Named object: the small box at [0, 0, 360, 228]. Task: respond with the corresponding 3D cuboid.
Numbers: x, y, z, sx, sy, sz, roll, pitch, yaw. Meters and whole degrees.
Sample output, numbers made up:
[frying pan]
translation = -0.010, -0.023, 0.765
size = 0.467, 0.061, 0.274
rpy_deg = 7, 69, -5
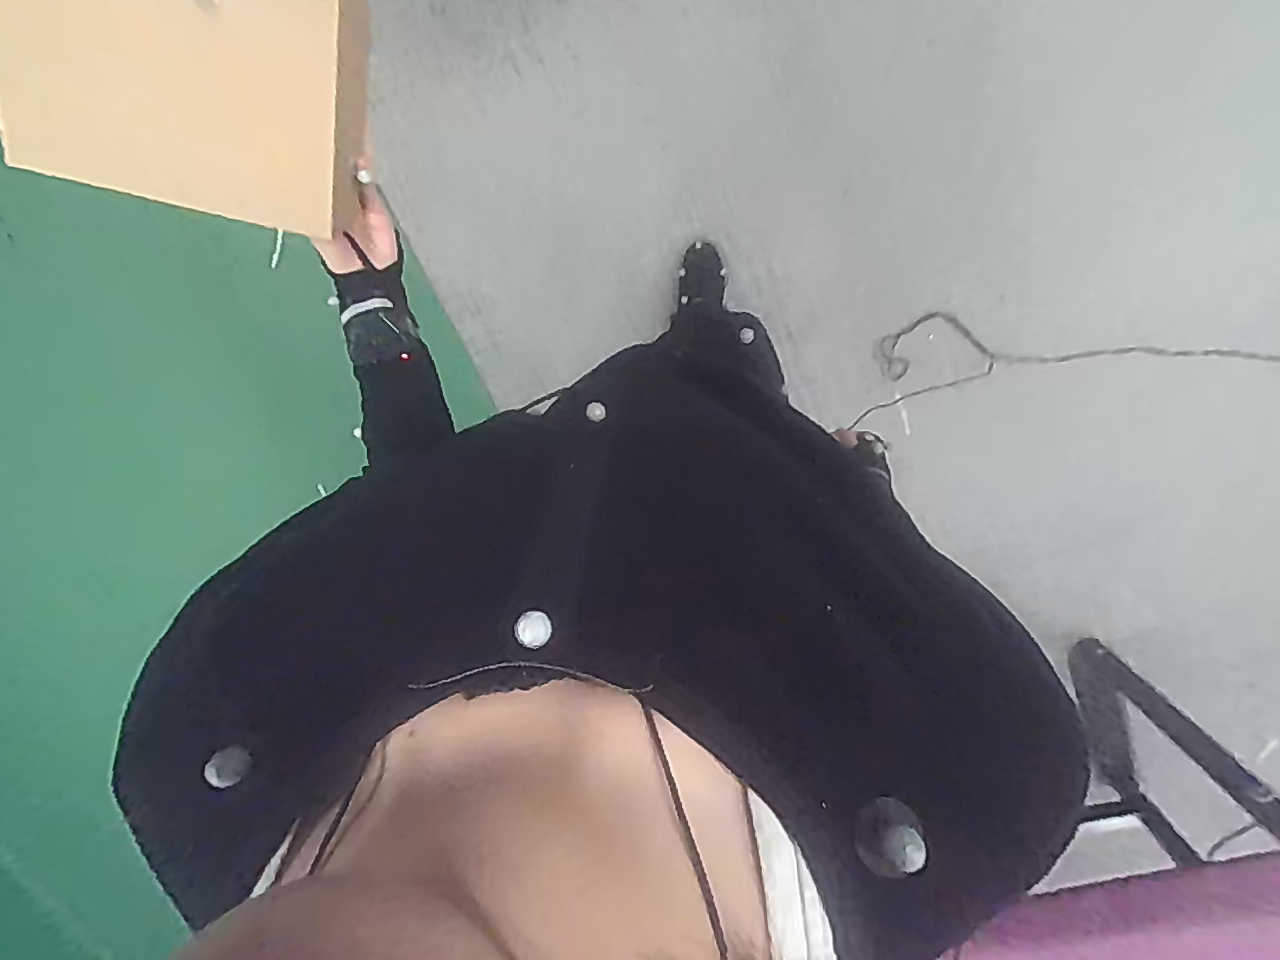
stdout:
[small box]
translation = -0.288, -0.289, 0.362
size = 0.168, 0.179, 0.176
rpy_deg = 4, 117, -25
